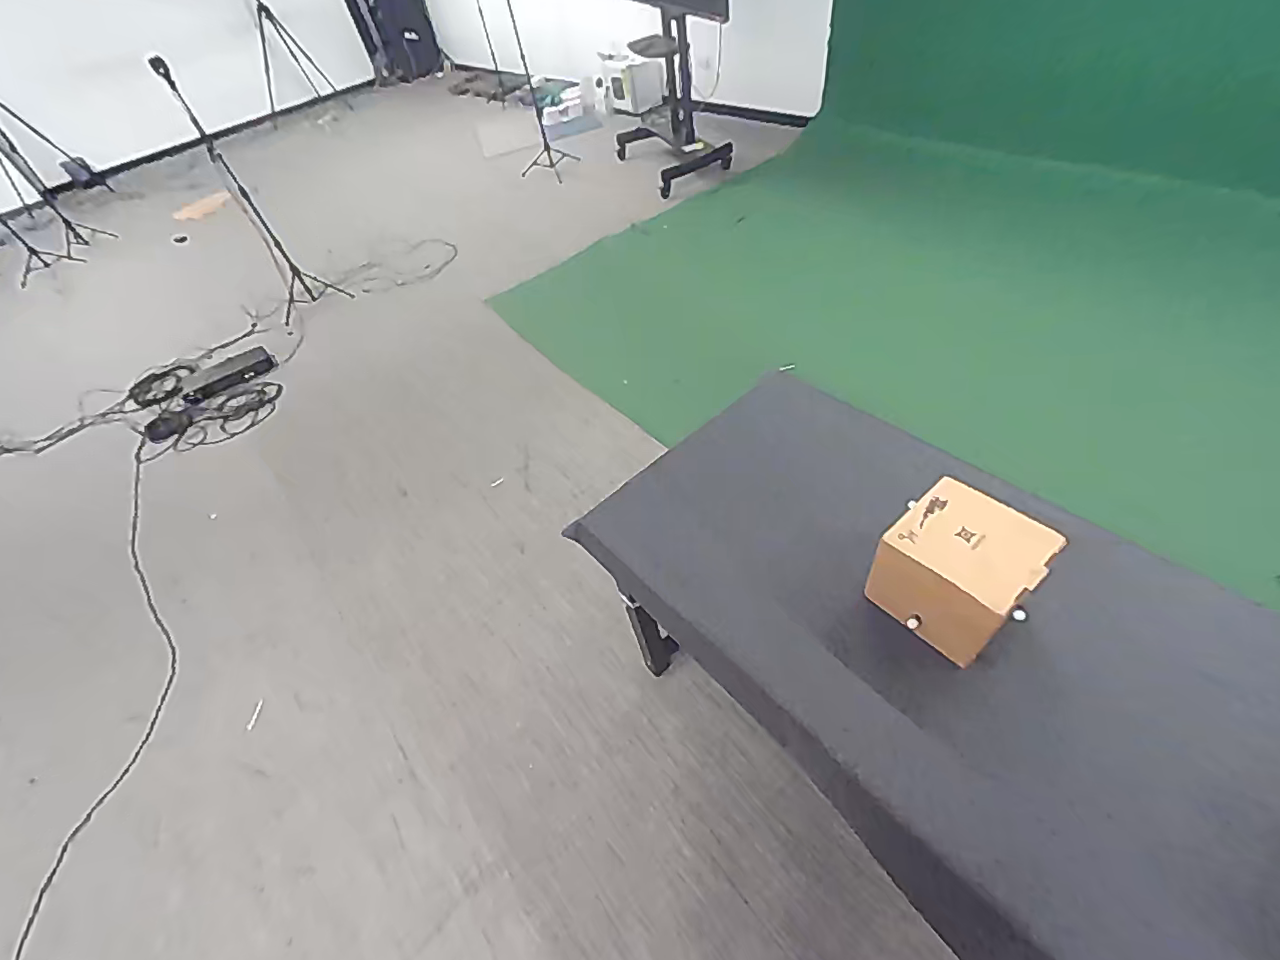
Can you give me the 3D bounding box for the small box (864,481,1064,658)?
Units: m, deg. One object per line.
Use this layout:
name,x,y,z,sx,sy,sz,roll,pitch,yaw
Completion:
small box,0.471,0.141,0.813,0.168,0.176,0.179,-35,53,-22
